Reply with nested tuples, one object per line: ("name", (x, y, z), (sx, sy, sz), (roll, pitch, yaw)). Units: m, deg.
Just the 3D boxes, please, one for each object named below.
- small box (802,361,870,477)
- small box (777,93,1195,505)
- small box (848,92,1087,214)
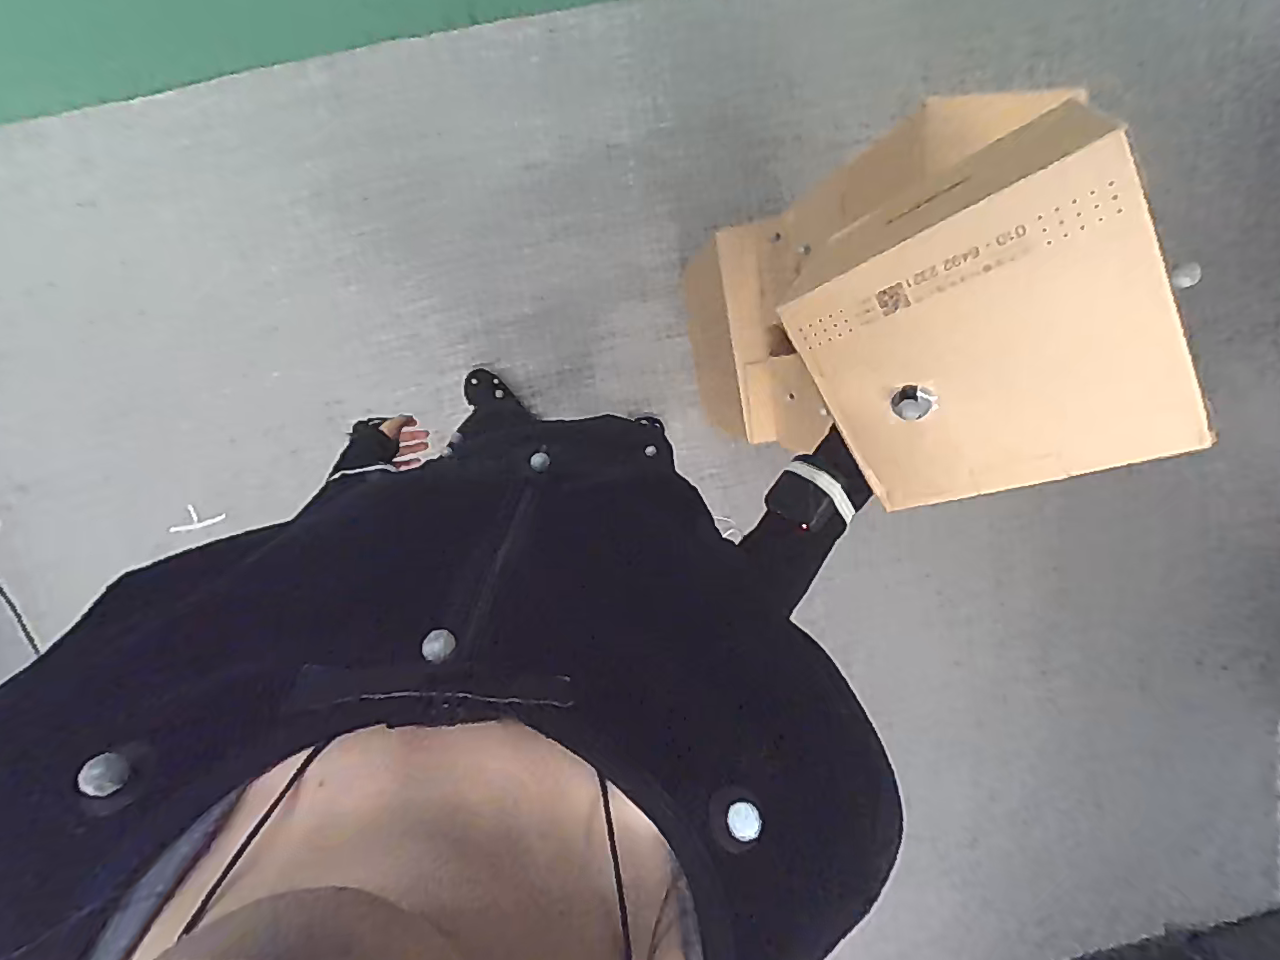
("small box", (0.360, -0.117, 0.813), (0.168, 0.176, 0.179), (-12, 100, -3))
("small box", (0.213, -0.115, 0.358), (0.168, 0.179, 0.176), (-19, 115, 40))
("small box", (0.349, -0.298, 0.610), (0.168, 0.176, 0.179), (-6, 103, -4))
